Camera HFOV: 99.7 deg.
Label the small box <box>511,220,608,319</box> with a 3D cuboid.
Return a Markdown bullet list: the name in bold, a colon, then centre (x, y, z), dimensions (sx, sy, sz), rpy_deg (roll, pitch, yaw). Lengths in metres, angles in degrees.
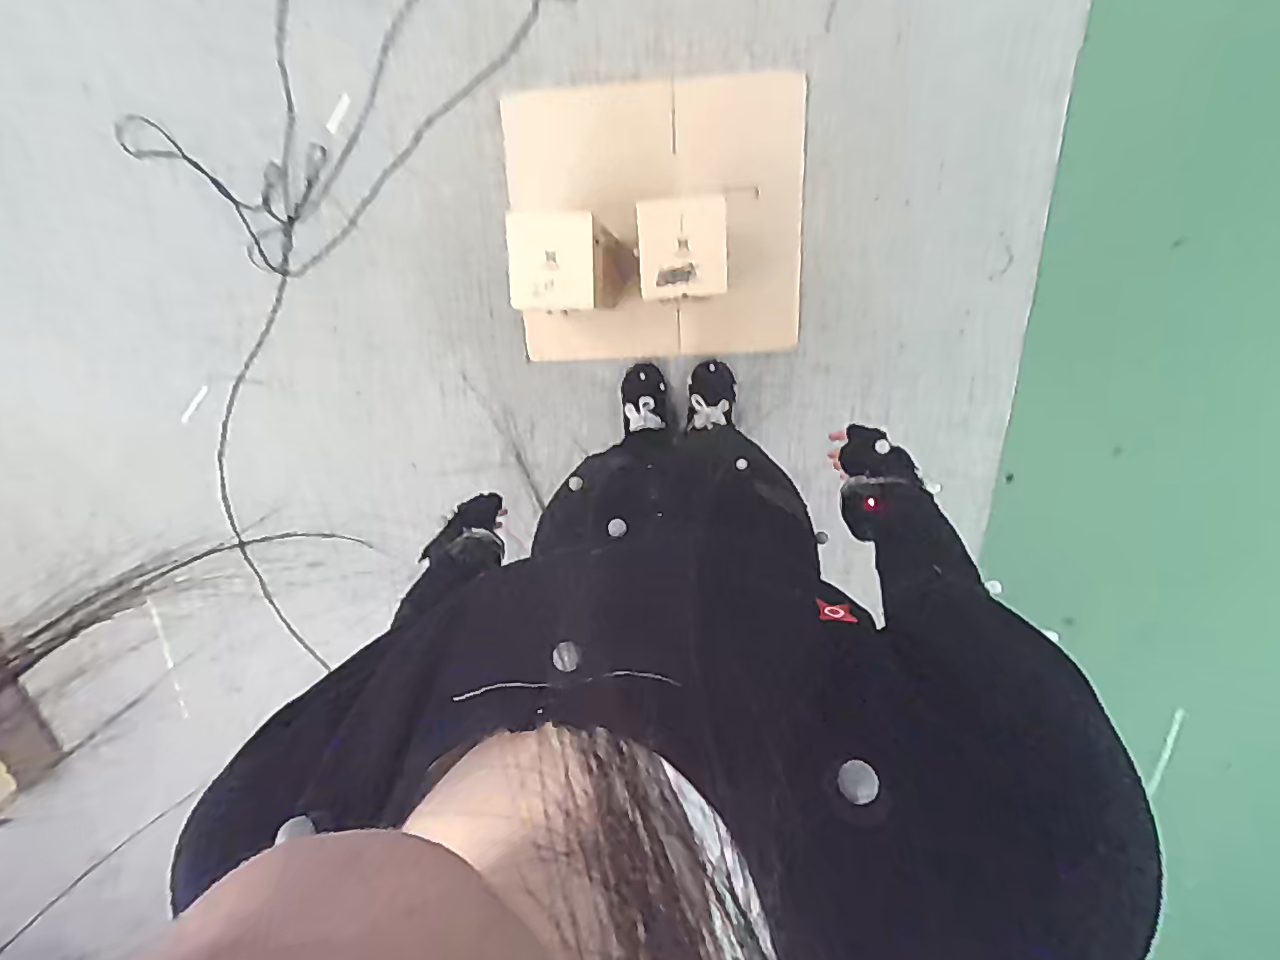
- **small box**: centre (-0.159, -0.427, 1.115), dimensions (0.168, 0.176, 0.179), rpy_deg (2, 107, 5)

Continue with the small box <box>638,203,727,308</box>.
- **small box**: centre (0.088, -0.444, 1.094), dimensions (0.168, 0.176, 0.179), rpy_deg (-3, 106, 5)
